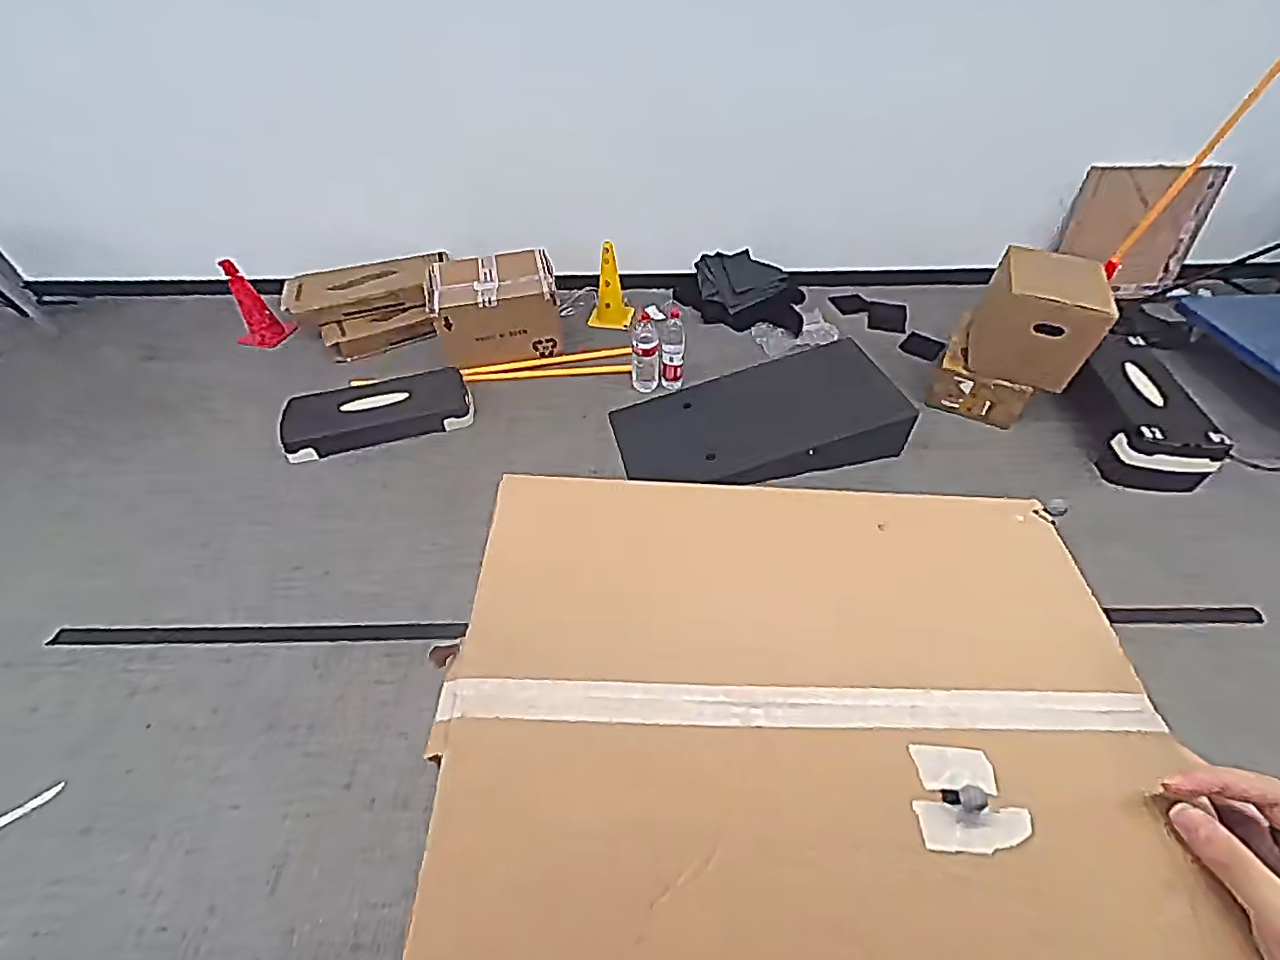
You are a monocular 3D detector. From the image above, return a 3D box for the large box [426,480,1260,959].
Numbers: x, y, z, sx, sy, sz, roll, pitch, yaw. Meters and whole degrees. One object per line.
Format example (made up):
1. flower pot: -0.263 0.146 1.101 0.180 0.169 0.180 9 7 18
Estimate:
1. large box: 0.087 0.219 0.438 0.408 0.320 0.320 3 53 -4
